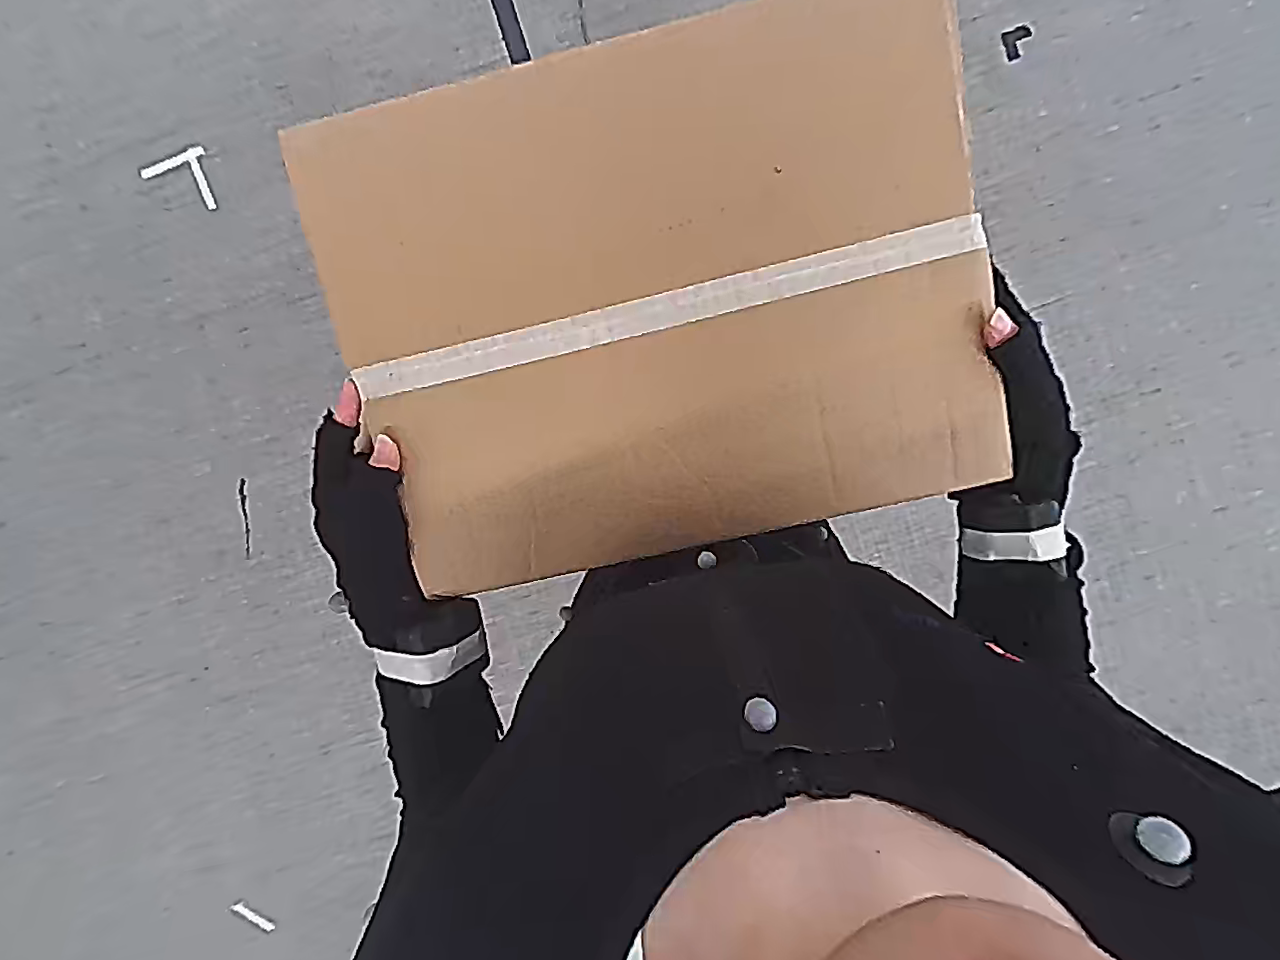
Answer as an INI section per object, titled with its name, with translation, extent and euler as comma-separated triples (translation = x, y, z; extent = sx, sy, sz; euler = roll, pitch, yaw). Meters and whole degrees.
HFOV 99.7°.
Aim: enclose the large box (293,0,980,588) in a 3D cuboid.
[large box]
translation = 0.010, -0.139, 0.500
extent = 0.408, 0.320, 0.320
euler = -13, 99, 4
